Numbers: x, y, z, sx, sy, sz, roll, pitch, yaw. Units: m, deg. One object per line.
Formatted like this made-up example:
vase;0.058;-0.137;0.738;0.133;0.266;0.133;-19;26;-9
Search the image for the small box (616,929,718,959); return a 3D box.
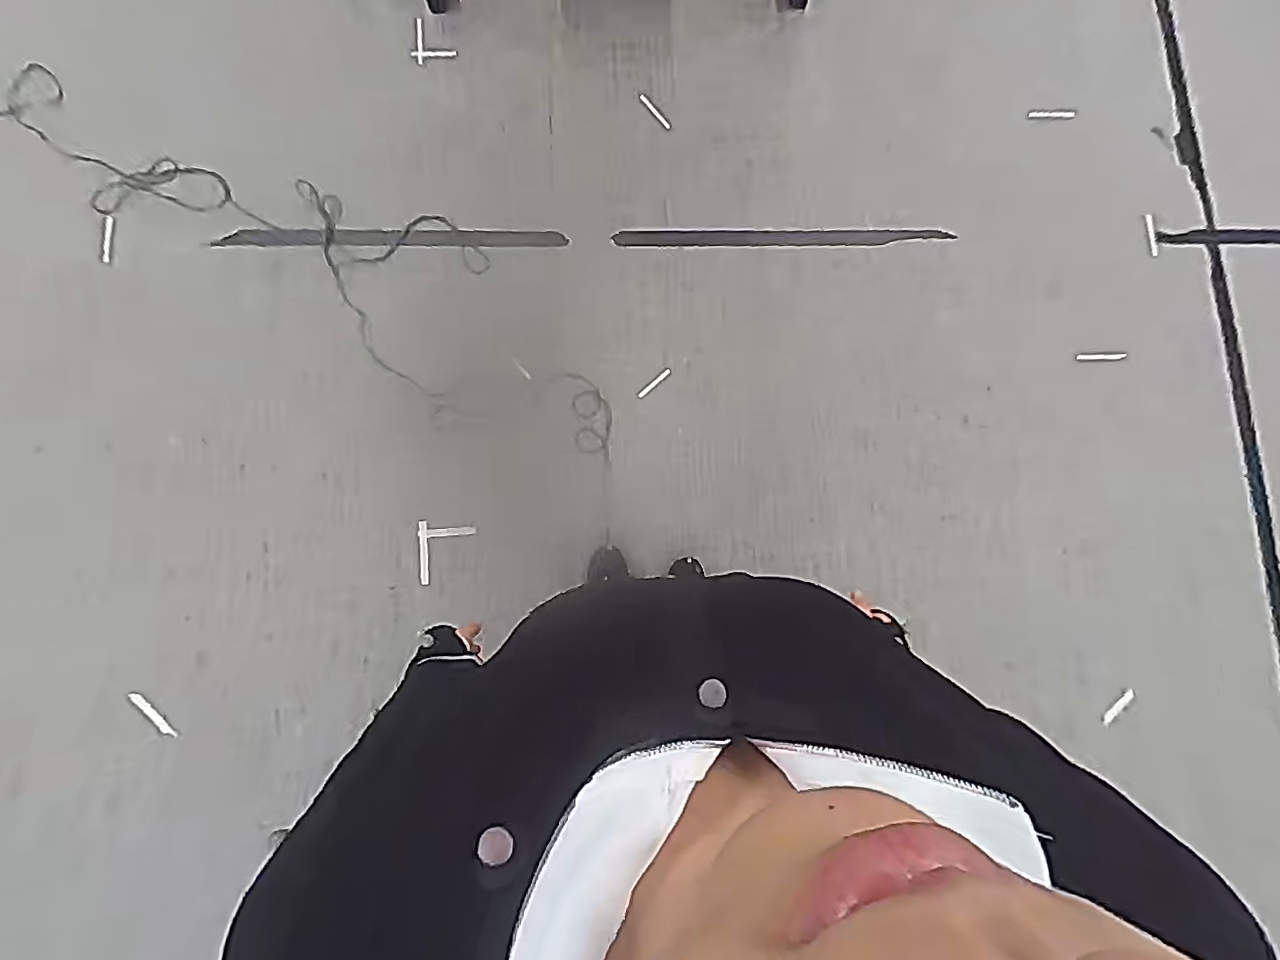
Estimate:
small box;0.049;0.854;0.855;0.168;0.176;0.179;-3;80;-4
